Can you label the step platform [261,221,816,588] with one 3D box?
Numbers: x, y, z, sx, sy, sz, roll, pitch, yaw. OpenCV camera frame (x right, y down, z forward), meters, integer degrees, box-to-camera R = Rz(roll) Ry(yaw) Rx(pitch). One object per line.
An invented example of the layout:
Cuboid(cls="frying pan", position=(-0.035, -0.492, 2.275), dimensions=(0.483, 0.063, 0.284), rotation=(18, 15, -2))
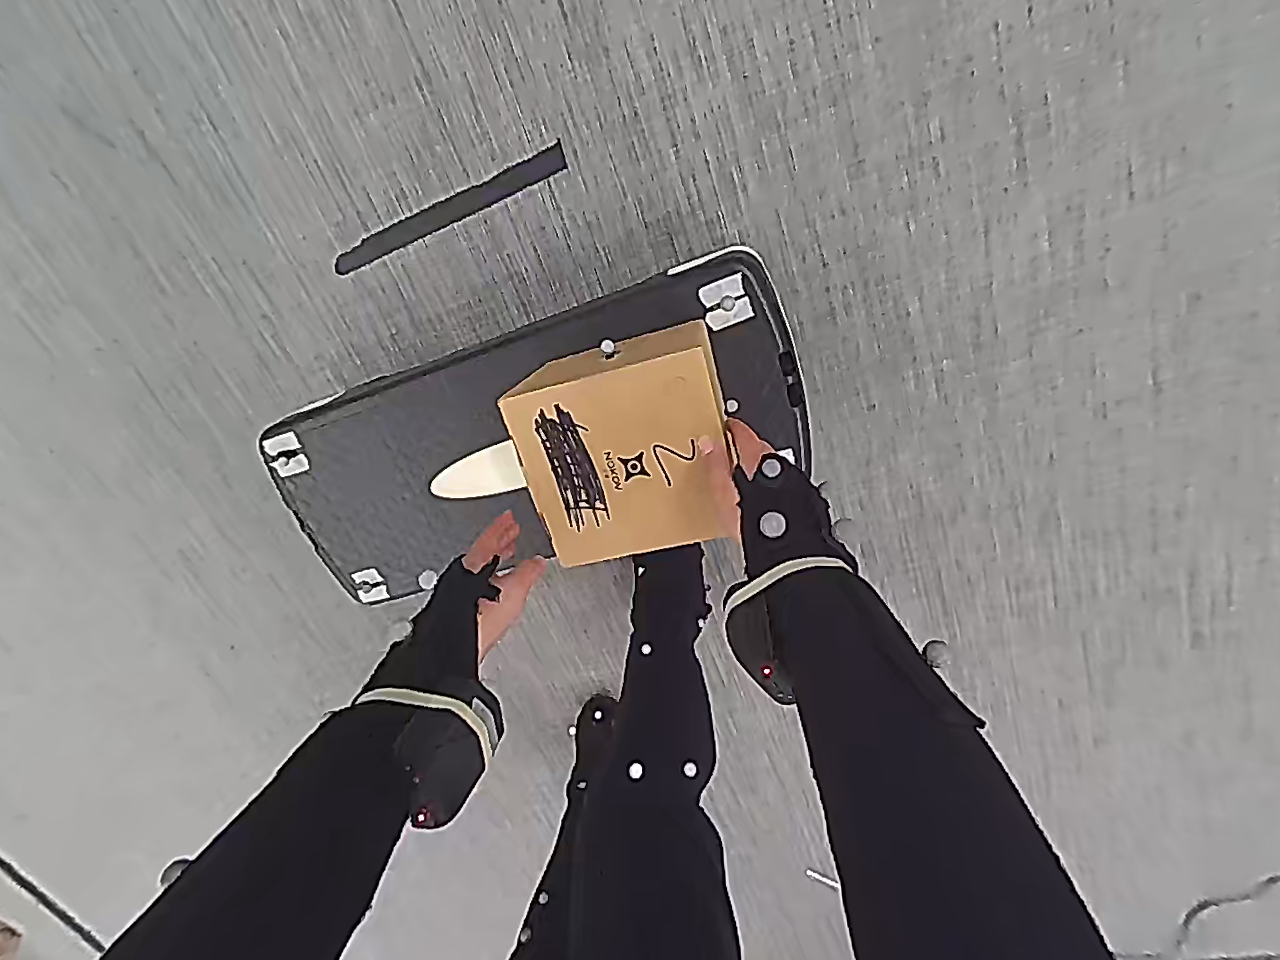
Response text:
Cuboid(cls="step platform", position=(-0.128, -0.080, 0.715), dimensions=(0.684, 0.204, 0.286), rotation=(-16, 110, 14))
